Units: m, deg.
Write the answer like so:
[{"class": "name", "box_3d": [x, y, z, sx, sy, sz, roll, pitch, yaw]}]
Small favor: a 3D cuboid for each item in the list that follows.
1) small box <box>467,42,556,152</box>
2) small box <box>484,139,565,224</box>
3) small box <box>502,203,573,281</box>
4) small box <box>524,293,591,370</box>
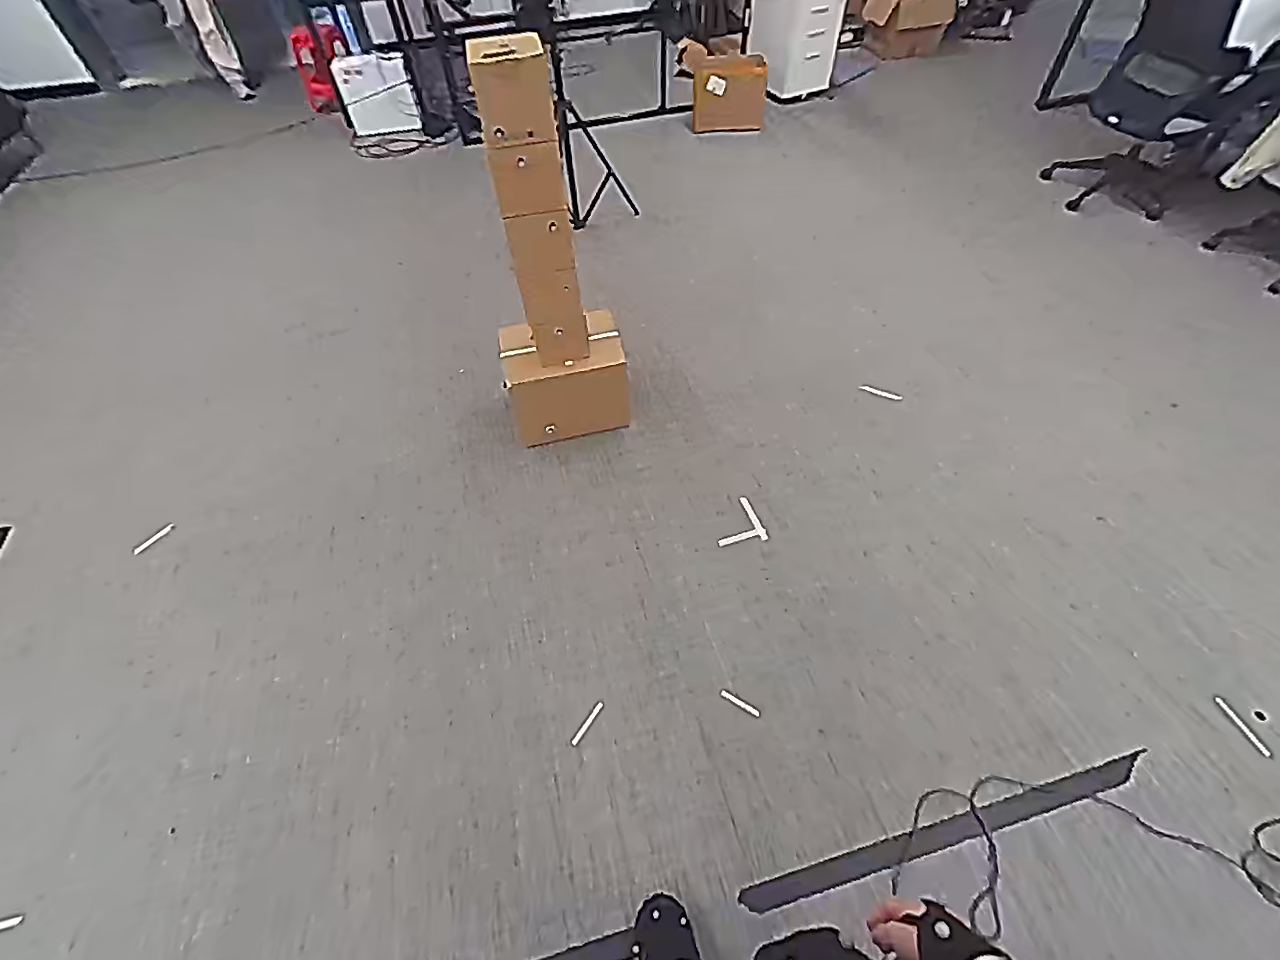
[{"class": "small box", "box_3d": [-0.299, -0.889, 1.266, 0.168, 0.176, 0.179, -12, 53, -6]}, {"class": "small box", "box_3d": [-0.294, -0.787, 1.396, 0.179, 0.176, 0.168, -12, 54, -5]}, {"class": "small box", "box_3d": [-0.287, -0.688, 1.523, 0.179, 0.176, 0.168, -12, 53, -6]}, {"class": "small box", "box_3d": [-0.270, -0.486, 1.782, 0.179, 0.176, 0.168, -14, 54, -9]}]
